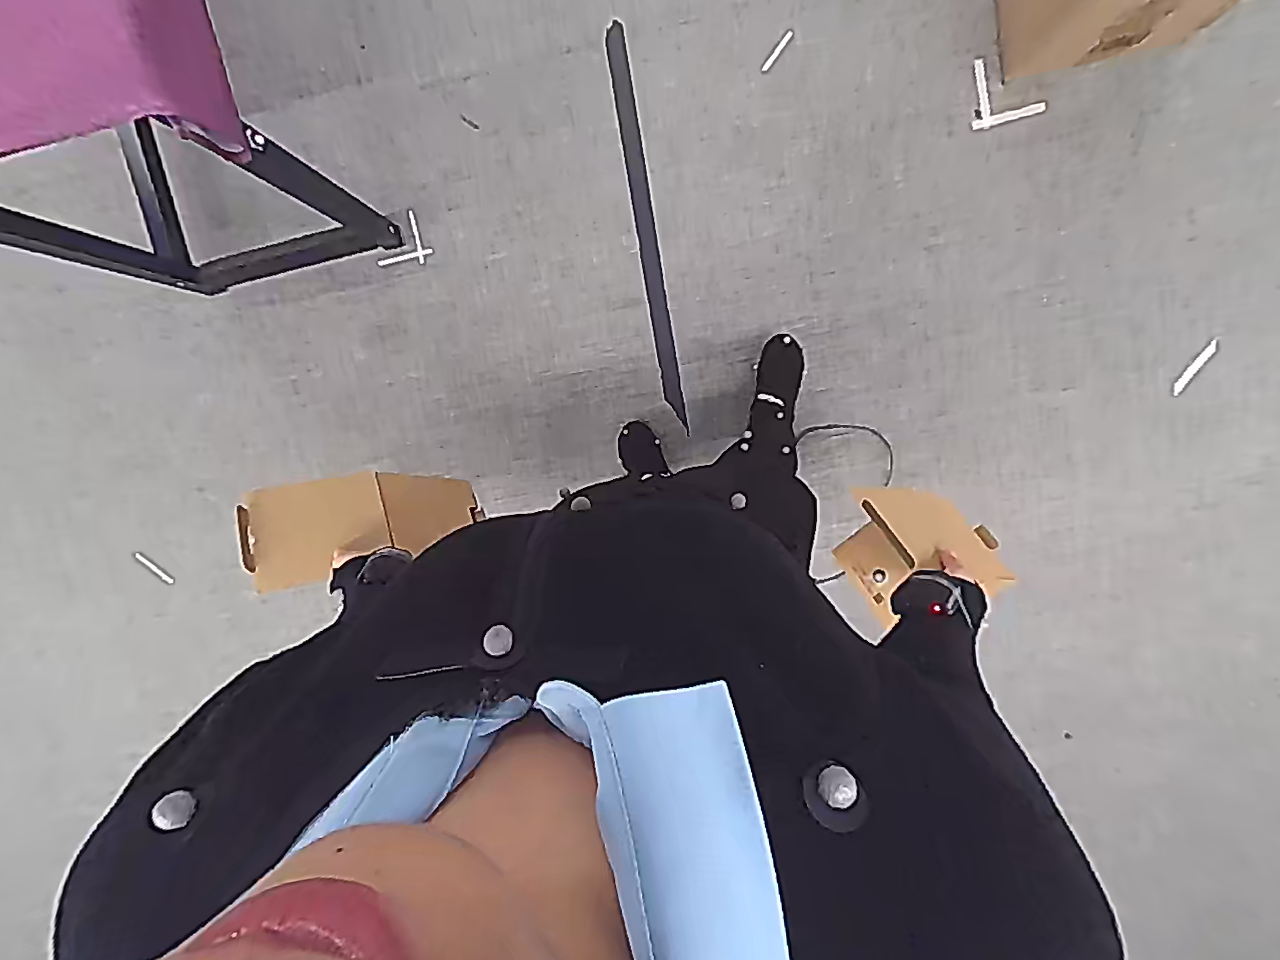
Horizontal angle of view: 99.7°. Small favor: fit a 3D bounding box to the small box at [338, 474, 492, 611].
[{"bbox_3d":[-0.387,0.109,0.914,0.176,0.179,0.168,-39,63,29],"label":"small box"}]
